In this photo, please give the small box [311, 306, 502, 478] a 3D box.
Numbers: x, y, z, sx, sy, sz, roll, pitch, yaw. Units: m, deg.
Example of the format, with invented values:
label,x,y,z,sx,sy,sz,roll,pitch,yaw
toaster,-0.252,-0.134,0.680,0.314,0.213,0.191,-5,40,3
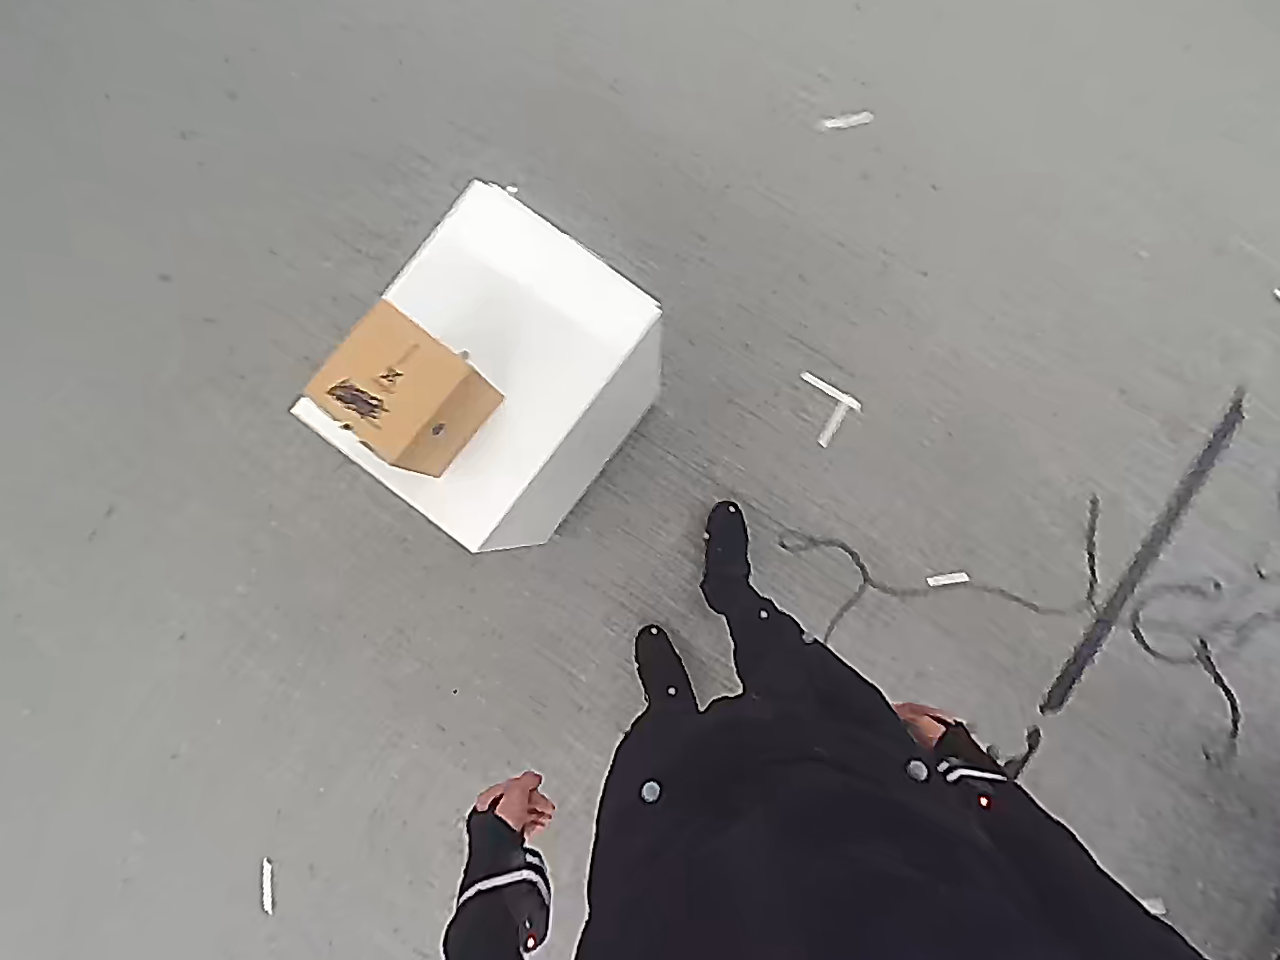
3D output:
label,x,y,z,sx,sy,sz,roll,pitch,yaw
small box,-0.337,-0.120,0.823,0.168,0.176,0.179,38,86,5
